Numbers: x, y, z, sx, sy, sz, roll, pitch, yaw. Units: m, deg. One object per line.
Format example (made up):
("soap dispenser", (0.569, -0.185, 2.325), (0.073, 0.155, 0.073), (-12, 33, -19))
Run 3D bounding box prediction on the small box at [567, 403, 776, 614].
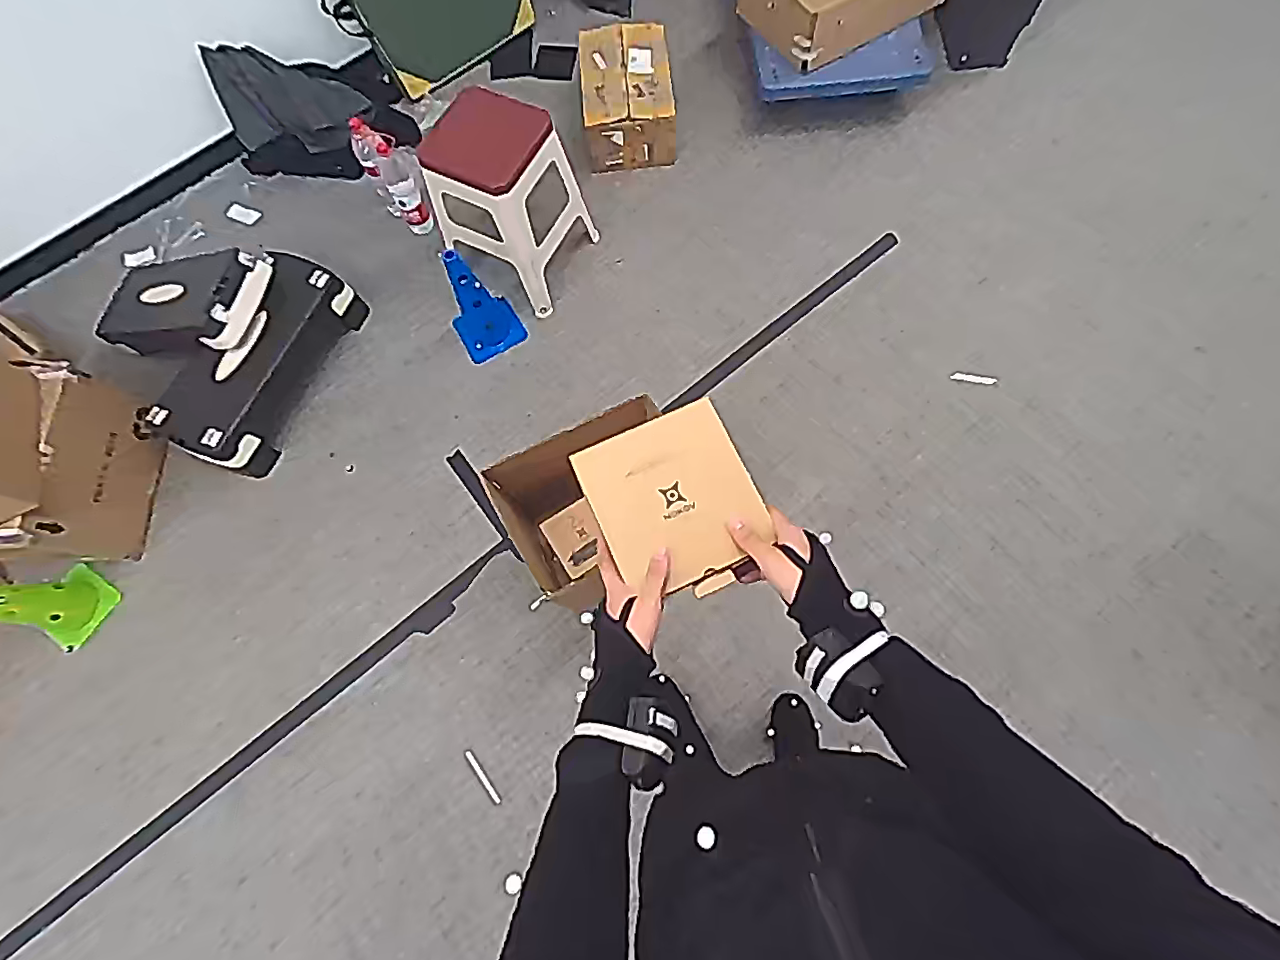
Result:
("small box", (0.031, 0.042, 0.630), (0.168, 0.176, 0.179), (-24, 77, -7))
